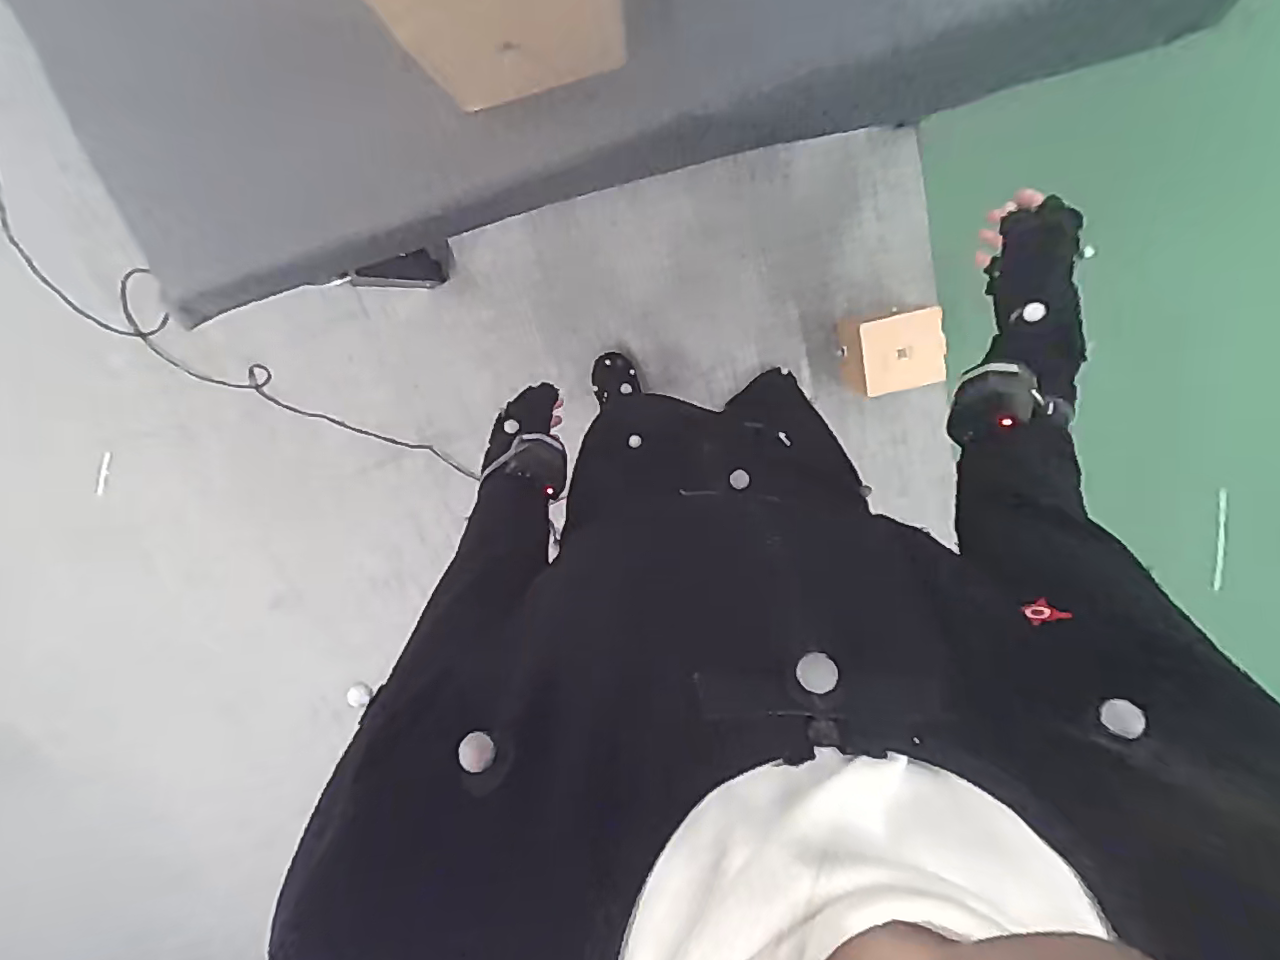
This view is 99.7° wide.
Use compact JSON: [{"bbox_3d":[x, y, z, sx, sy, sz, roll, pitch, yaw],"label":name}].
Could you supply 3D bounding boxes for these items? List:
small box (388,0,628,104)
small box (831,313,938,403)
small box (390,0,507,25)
[{"bbox_3d":[-0.115,-0.454,0.457,0.179,0.176,0.168,-12,107,5],"label":"small box"},{"bbox_3d":[0.566,-0.291,1.266,0.179,0.176,0.168,-12,107,6],"label":"small box"},{"bbox_3d":[-0.121,-0.411,0.298,0.168,0.176,0.179,-12,107,4],"label":"small box"}]
